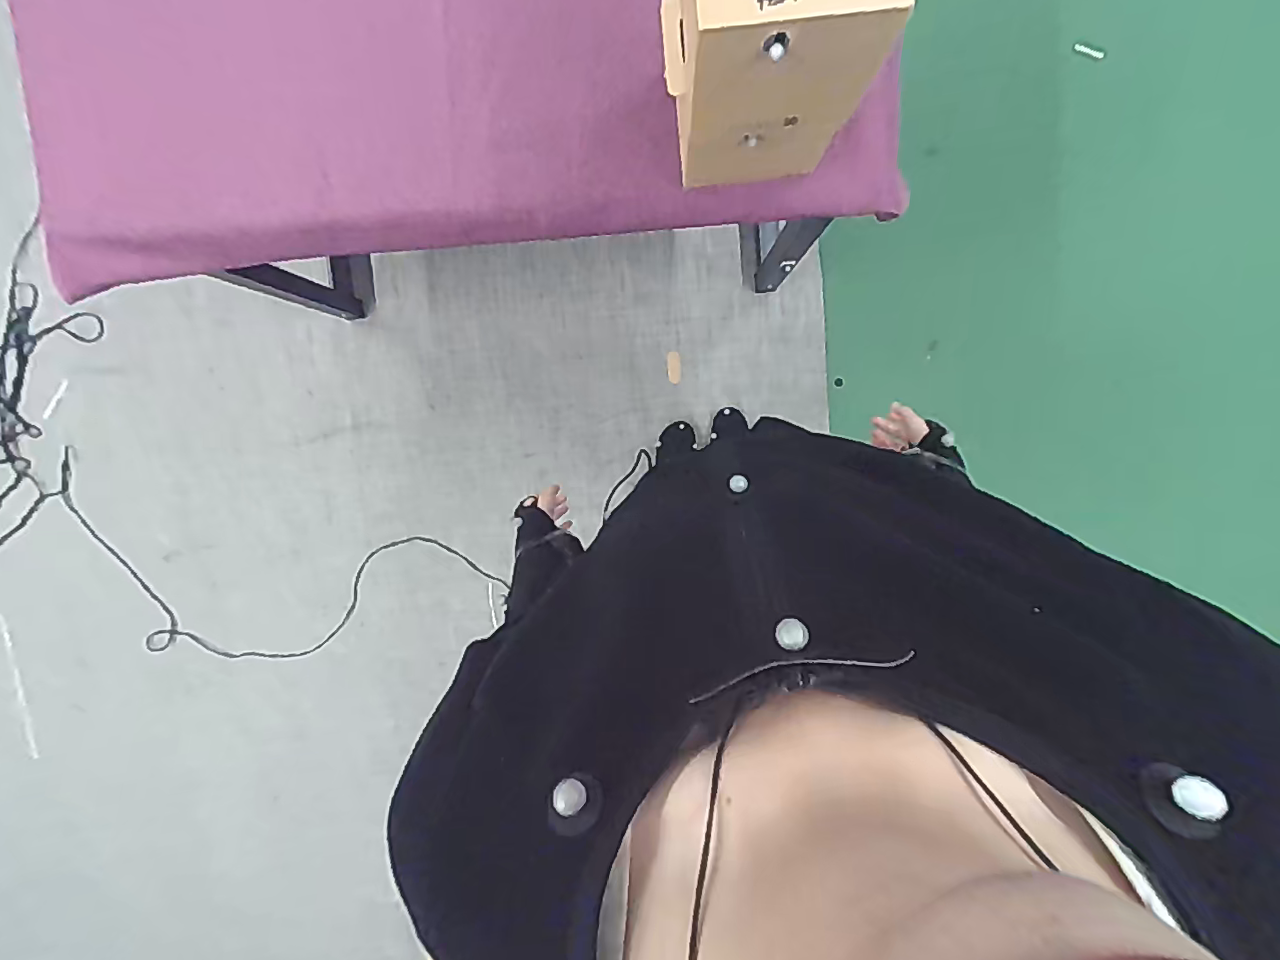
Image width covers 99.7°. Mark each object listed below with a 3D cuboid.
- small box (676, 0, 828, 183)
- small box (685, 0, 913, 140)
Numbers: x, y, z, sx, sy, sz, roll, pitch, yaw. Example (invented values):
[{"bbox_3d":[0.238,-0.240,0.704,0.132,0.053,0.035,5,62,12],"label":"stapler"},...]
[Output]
[{"bbox_3d":[0.136,-0.481,0.648,0.179,0.176,0.168,-5,96,3],"label":"small box"},{"bbox_3d":[0.126,-0.446,0.487,0.168,0.176,0.179,-3,95,4],"label":"small box"}]
